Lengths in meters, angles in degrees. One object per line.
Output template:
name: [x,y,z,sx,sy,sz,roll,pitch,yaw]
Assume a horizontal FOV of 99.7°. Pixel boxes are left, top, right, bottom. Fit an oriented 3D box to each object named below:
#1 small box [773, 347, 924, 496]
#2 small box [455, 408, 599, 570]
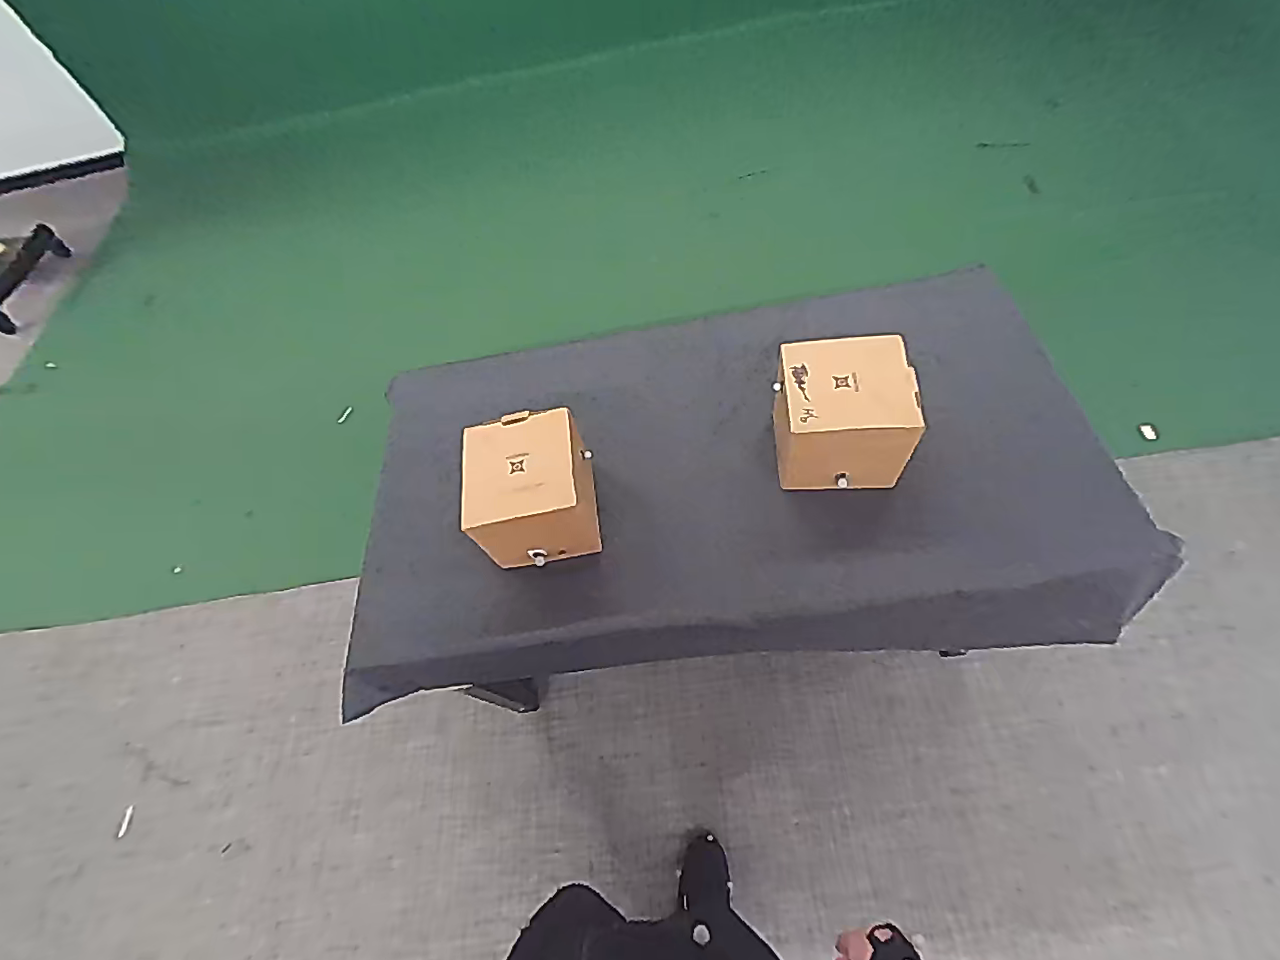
small box: [0.307,-0.085,0.836,0.179,0.176,0.168,-1,60,8]
small box: [-0.165,0.019,0.833,0.168,0.176,0.179,-11,59,5]
